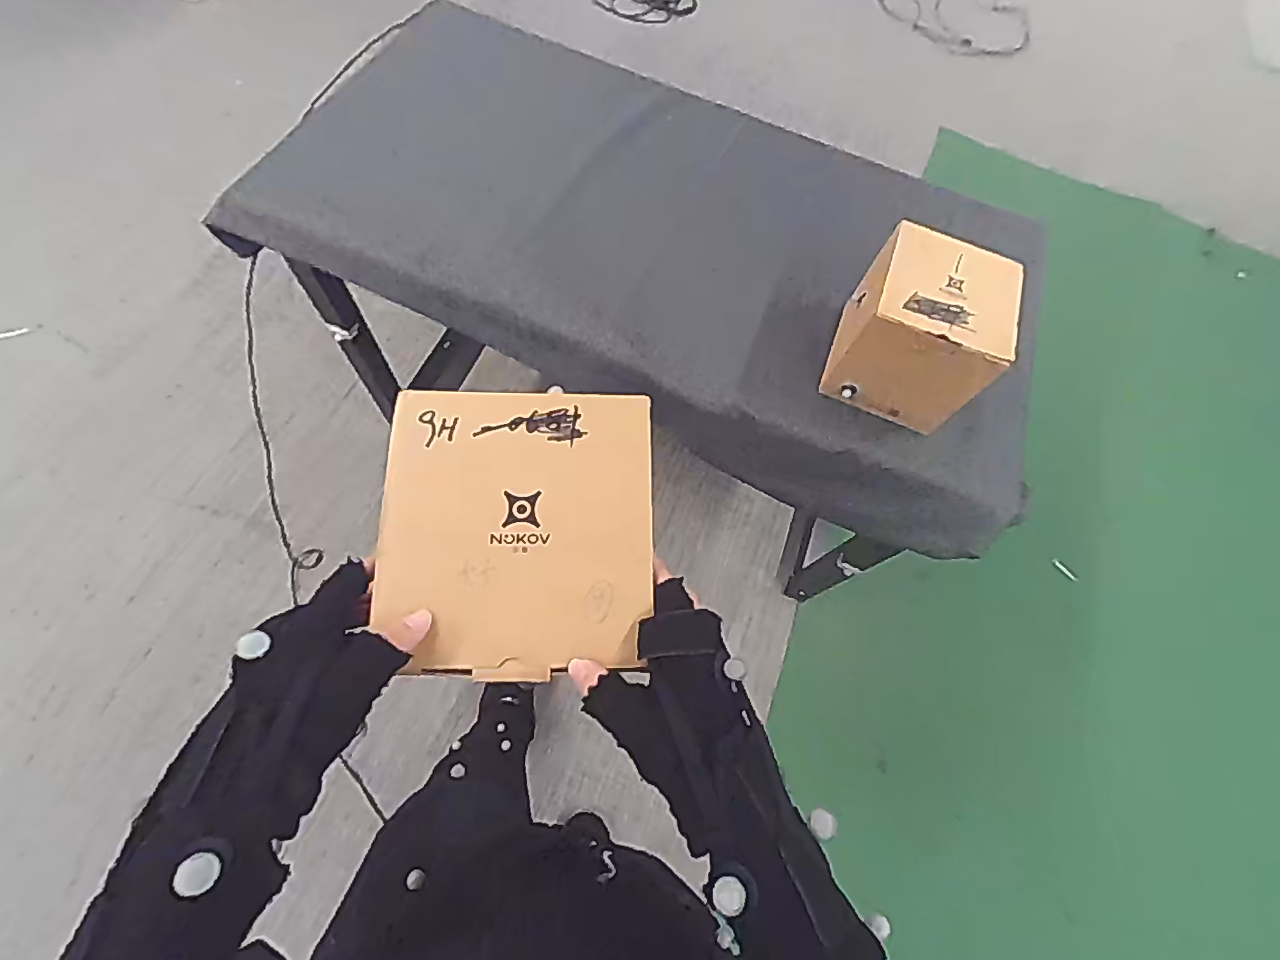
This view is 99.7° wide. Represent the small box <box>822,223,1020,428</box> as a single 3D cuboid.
[{"bbox_3d":[0.366,-0.198,0.728,0.168,0.176,0.179,23,64,3],"label":"small box"}]
